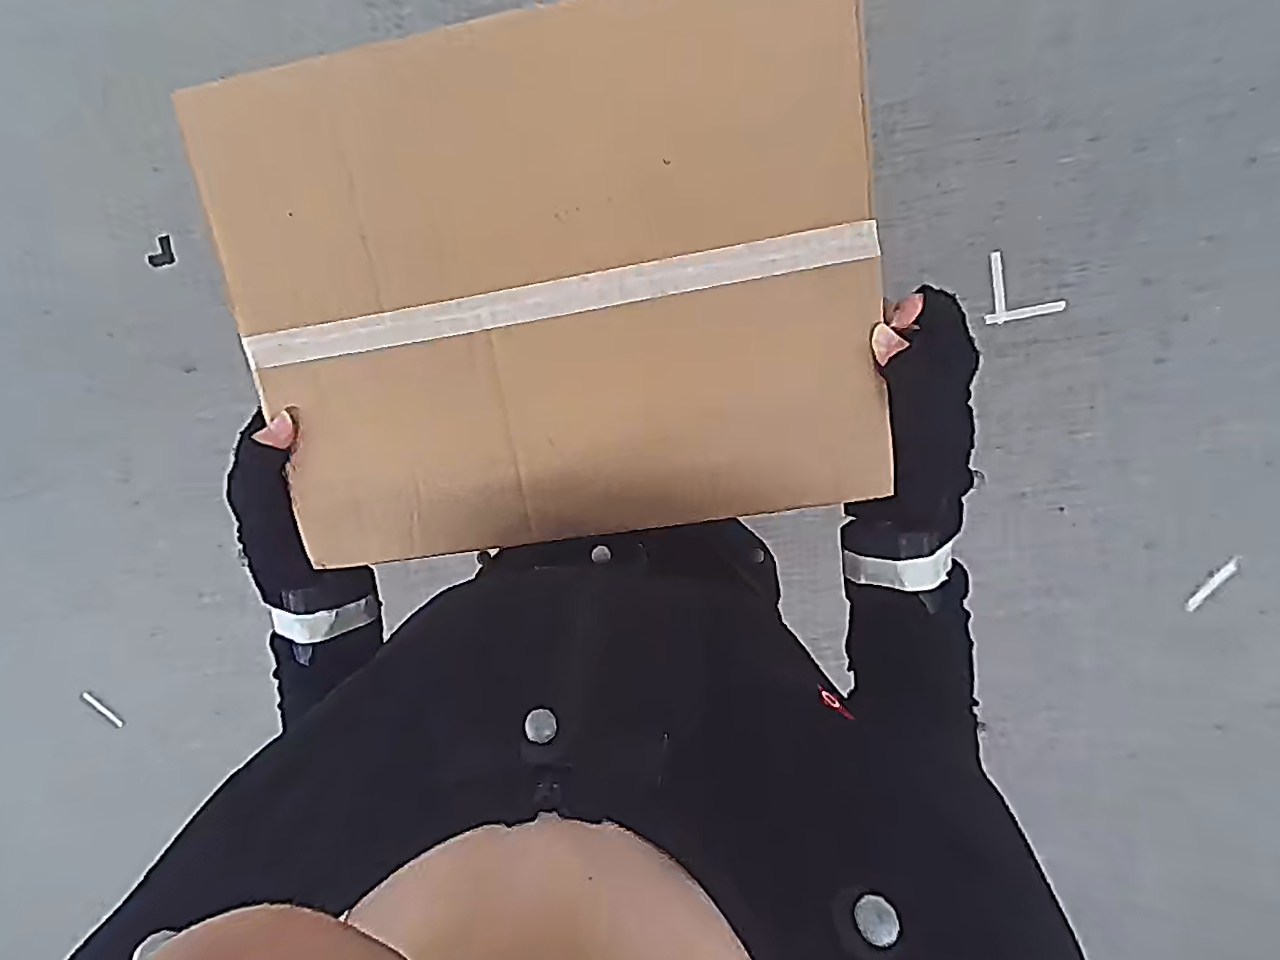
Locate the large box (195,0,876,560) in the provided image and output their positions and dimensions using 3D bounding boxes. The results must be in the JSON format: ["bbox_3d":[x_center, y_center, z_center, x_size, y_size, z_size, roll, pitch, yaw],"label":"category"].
[{"bbox_3d":[-0.050,-0.150,0.493,0.408,0.320,0.320,-8,101,6],"label":"large box"}]
